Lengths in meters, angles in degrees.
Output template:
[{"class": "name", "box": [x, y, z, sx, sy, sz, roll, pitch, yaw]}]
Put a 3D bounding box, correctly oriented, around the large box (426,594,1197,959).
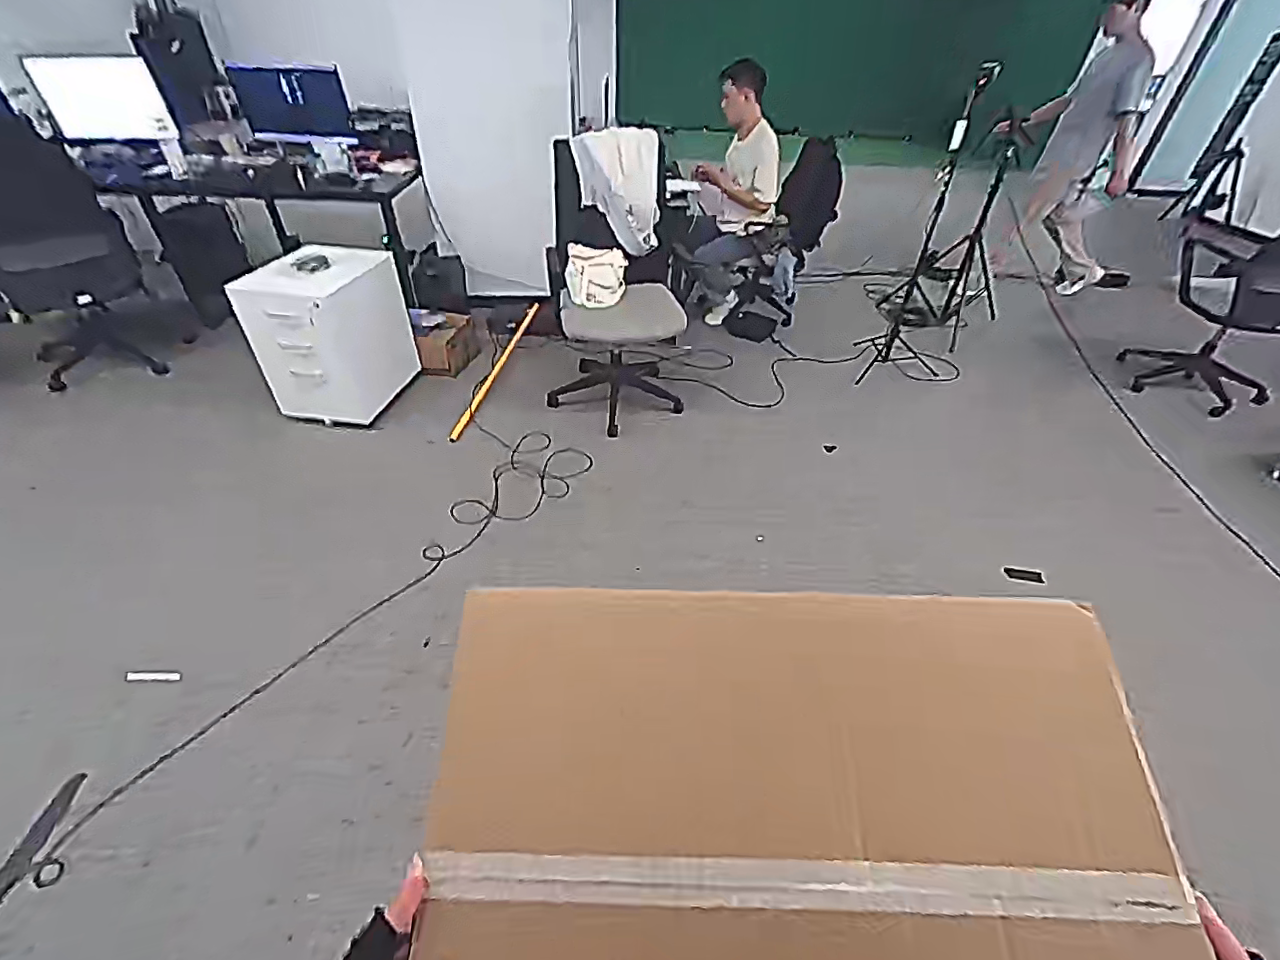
[{"class": "large box", "box": [0.088, 0.283, 0.429, 0.408, 0.320, 0.320, 1, 65, 2]}]
